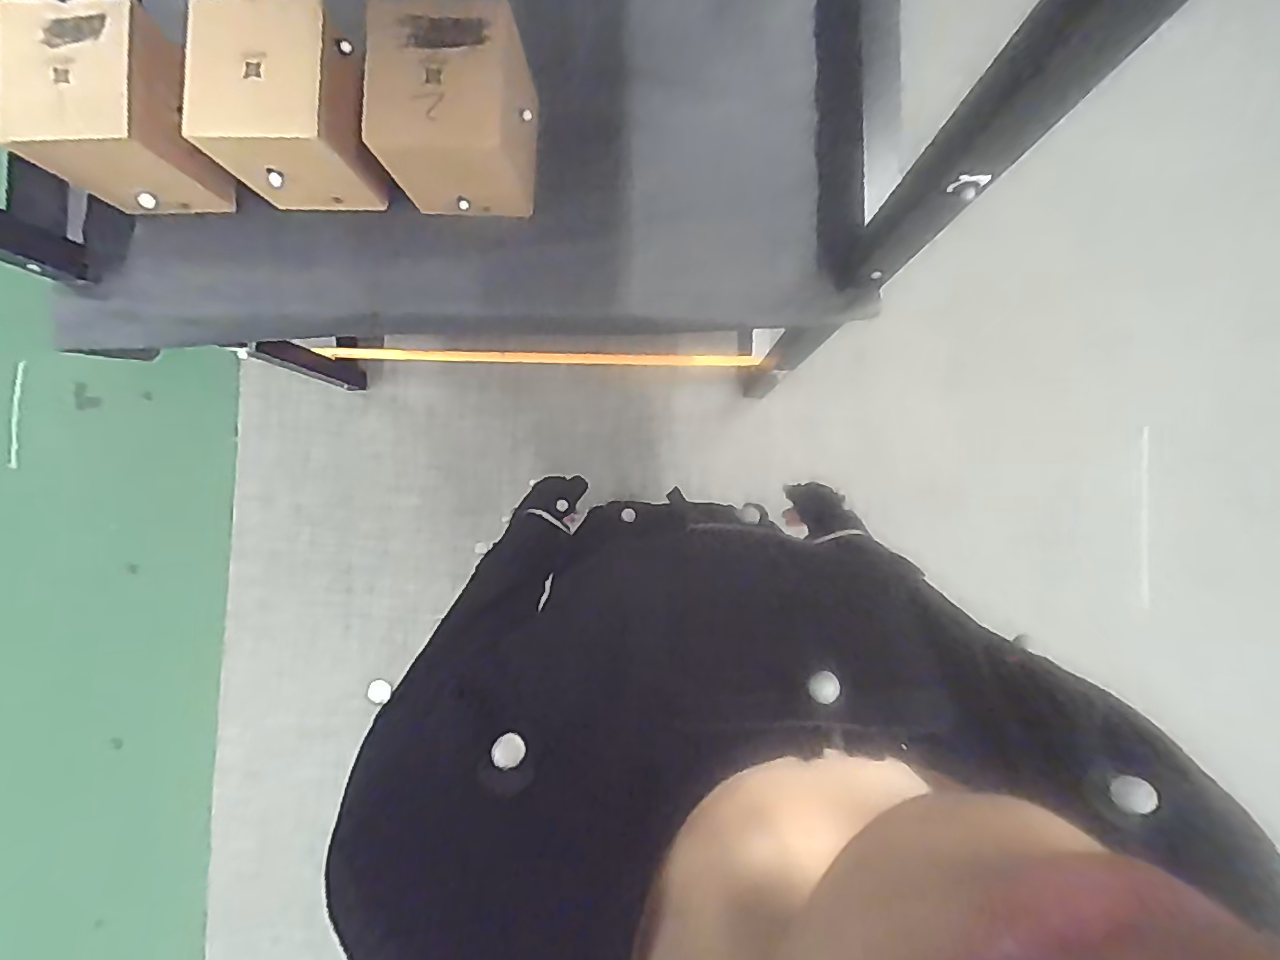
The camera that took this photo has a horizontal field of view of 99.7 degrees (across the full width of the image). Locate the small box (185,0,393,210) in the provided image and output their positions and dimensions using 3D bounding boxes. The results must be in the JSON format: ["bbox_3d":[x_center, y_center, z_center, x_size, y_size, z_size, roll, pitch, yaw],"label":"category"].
[{"bbox_3d":[-0.448,-0.481,0.715,0.168,0.176,0.179,1,87,2],"label":"small box"}]

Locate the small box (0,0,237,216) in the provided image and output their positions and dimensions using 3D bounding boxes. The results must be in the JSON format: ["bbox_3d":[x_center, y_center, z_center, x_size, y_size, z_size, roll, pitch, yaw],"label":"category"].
[{"bbox_3d":[-0.675,-0.481,0.720,0.168,0.176,0.179,-1,88,2],"label":"small box"}]
